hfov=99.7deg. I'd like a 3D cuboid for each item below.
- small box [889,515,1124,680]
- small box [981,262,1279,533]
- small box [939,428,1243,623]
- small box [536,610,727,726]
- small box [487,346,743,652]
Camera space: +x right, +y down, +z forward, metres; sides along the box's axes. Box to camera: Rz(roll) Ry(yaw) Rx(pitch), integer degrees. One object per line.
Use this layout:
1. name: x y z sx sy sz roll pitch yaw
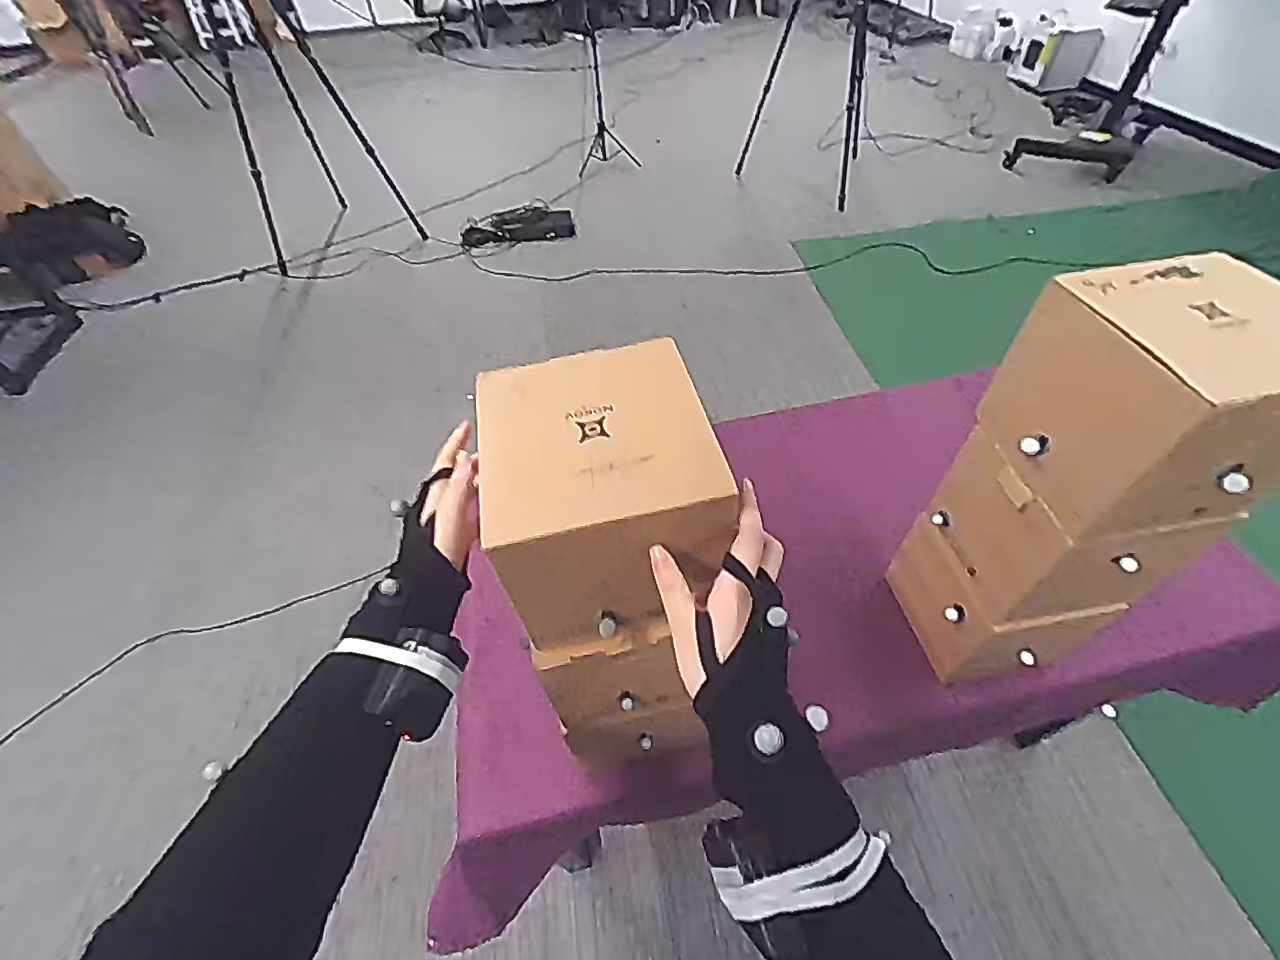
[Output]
1. small box: 0.472 0.155 0.733 0.168 0.176 0.179 -9 50 -4
2. small box: 0.460 -0.066 0.490 0.168 0.176 0.179 -8 51 -4
3. small box: 0.471 0.045 0.610 0.179 0.176 0.168 -8 50 -4
4. small box: -0.017 0.131 0.570 0.168 0.176 0.179 -11 50 -5
5. small box: -0.025 0.017 0.453 0.168 0.176 0.179 -11 51 -5
